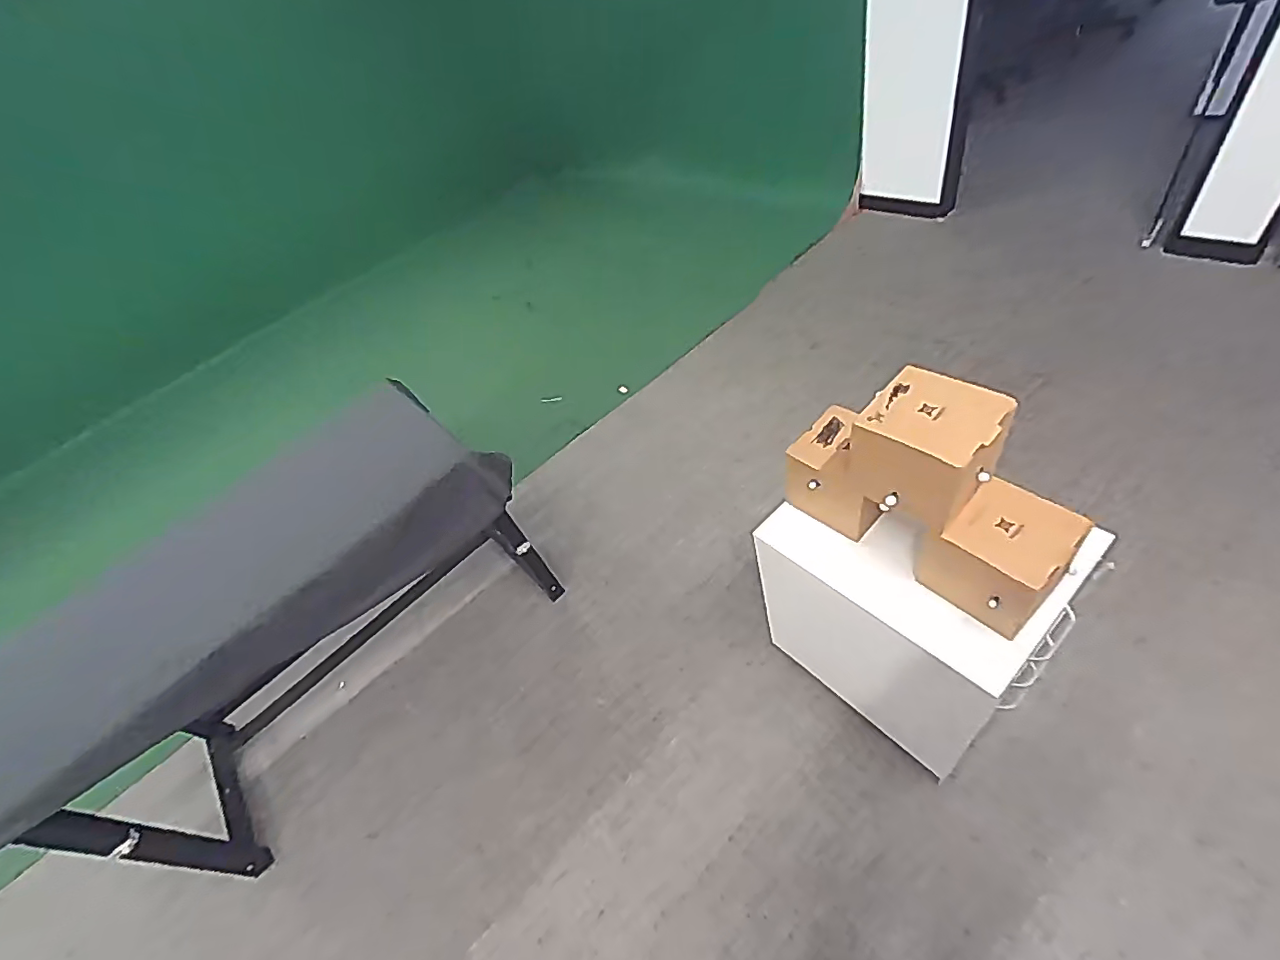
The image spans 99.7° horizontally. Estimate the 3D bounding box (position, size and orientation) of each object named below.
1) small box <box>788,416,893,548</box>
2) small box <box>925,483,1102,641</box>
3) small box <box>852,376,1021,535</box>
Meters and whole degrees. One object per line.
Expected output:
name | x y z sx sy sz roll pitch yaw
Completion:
small box | 0.422 0.006 1.093 0.168 0.176 0.179 -42 50 -18
small box | 0.607 0.142 0.903 0.168 0.176 0.179 -39 46 -17
small box | 0.471 -0.035 0.885 0.168 0.176 0.179 -42 50 -19
